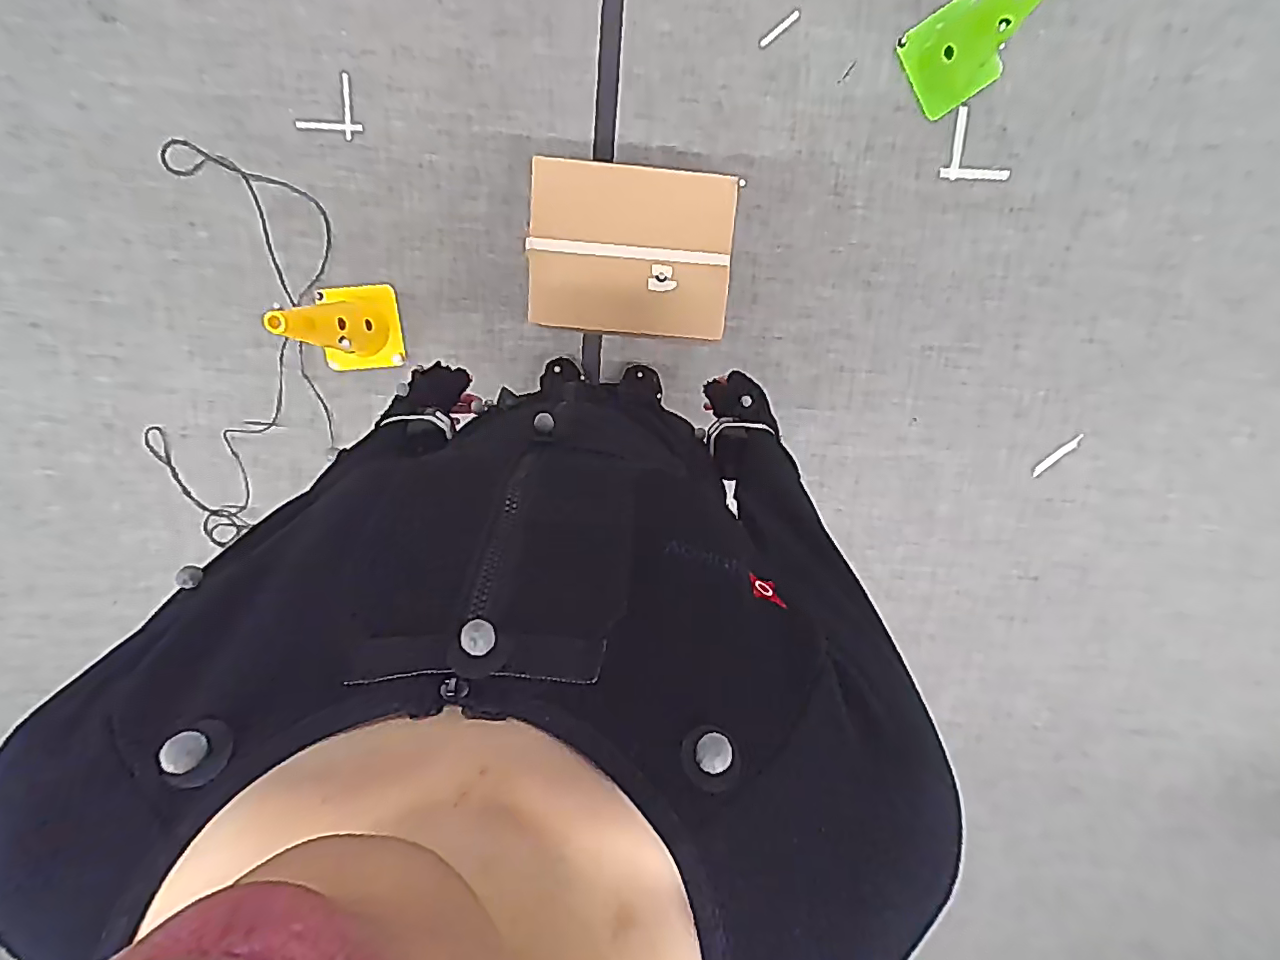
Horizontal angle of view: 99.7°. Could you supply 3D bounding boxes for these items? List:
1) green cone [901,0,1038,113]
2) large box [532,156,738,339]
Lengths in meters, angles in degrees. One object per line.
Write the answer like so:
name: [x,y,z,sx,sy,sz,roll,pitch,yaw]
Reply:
green cone: [0.736,-0.954,1.091,0.202,0.368,0.200,-33,103,5]
large box: [-0.022,-0.495,1.225,0.408,0.320,0.320,4,103,-3]
